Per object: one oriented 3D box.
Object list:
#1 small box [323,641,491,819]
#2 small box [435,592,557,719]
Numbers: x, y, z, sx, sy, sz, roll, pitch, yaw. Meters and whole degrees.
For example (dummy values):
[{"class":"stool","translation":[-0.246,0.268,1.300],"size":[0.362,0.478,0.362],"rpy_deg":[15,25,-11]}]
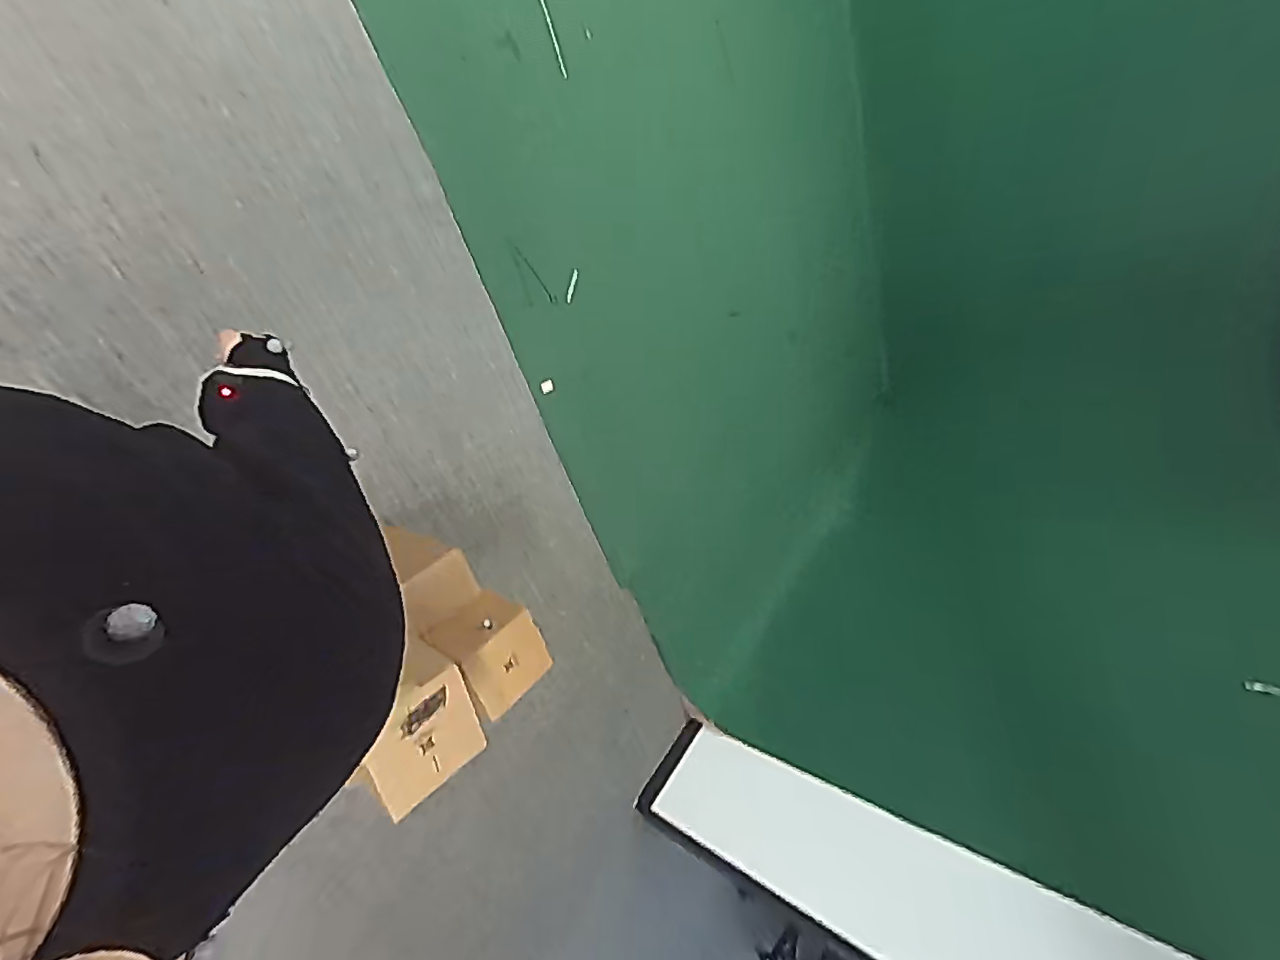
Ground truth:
[{"class":"small box","translation":[-0.374,0.383,0.869],"size":[0.168,0.176,0.179],"rpy_deg":[-31,119,-40]},{"class":"small box","translation":[-0.317,0.370,1.170],"size":[0.179,0.176,0.168],"rpy_deg":[-38,122,-38]}]
